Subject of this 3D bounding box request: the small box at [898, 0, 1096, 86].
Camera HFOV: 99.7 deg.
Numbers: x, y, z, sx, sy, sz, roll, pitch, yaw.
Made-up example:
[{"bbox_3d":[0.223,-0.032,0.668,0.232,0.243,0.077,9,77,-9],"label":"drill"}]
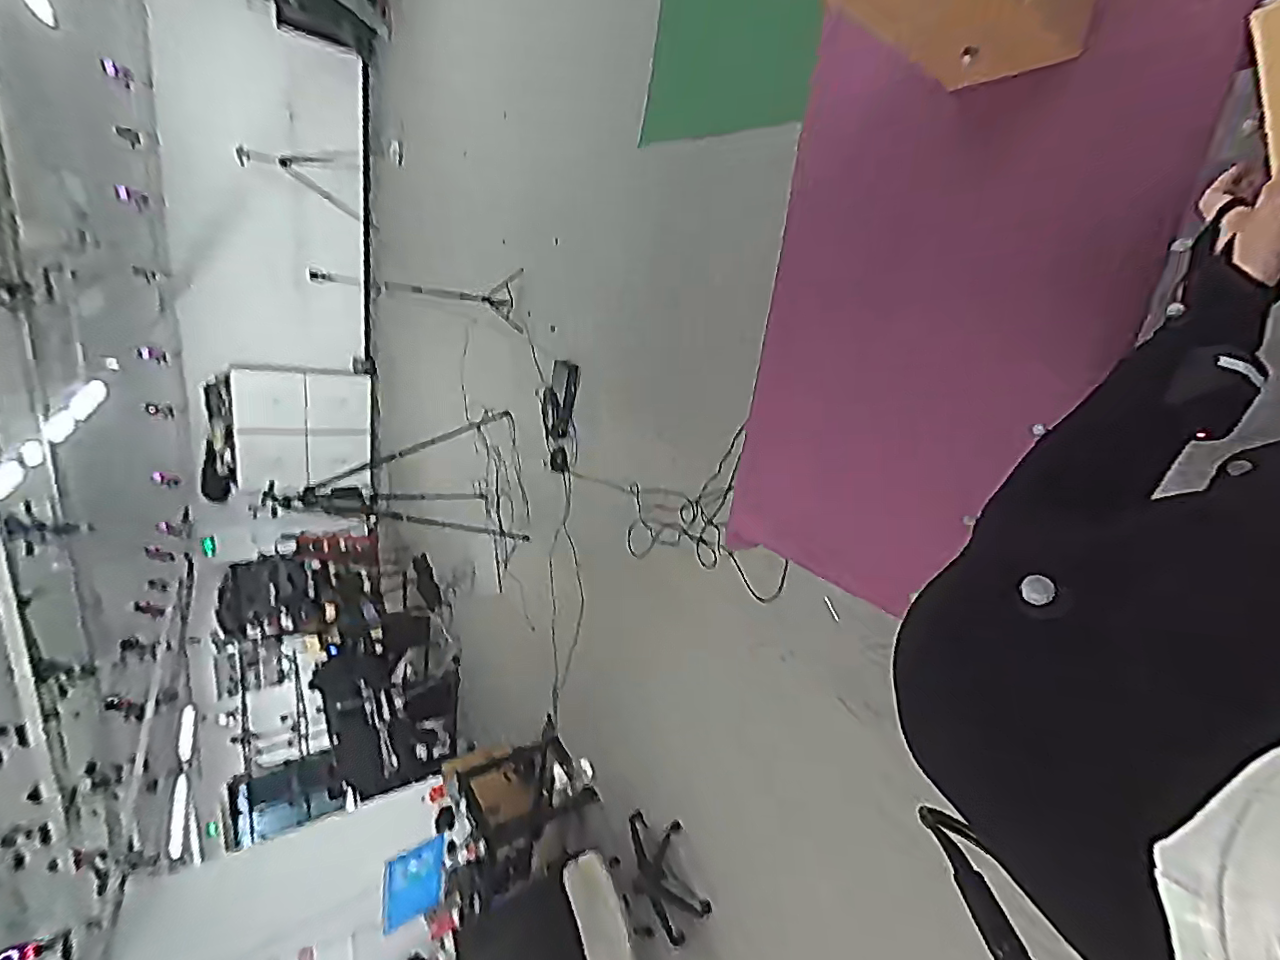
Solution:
[{"bbox_3d":[0.497,-0.677,0.740,0.179,0.176,0.168,28,117,52],"label":"small box"}]
